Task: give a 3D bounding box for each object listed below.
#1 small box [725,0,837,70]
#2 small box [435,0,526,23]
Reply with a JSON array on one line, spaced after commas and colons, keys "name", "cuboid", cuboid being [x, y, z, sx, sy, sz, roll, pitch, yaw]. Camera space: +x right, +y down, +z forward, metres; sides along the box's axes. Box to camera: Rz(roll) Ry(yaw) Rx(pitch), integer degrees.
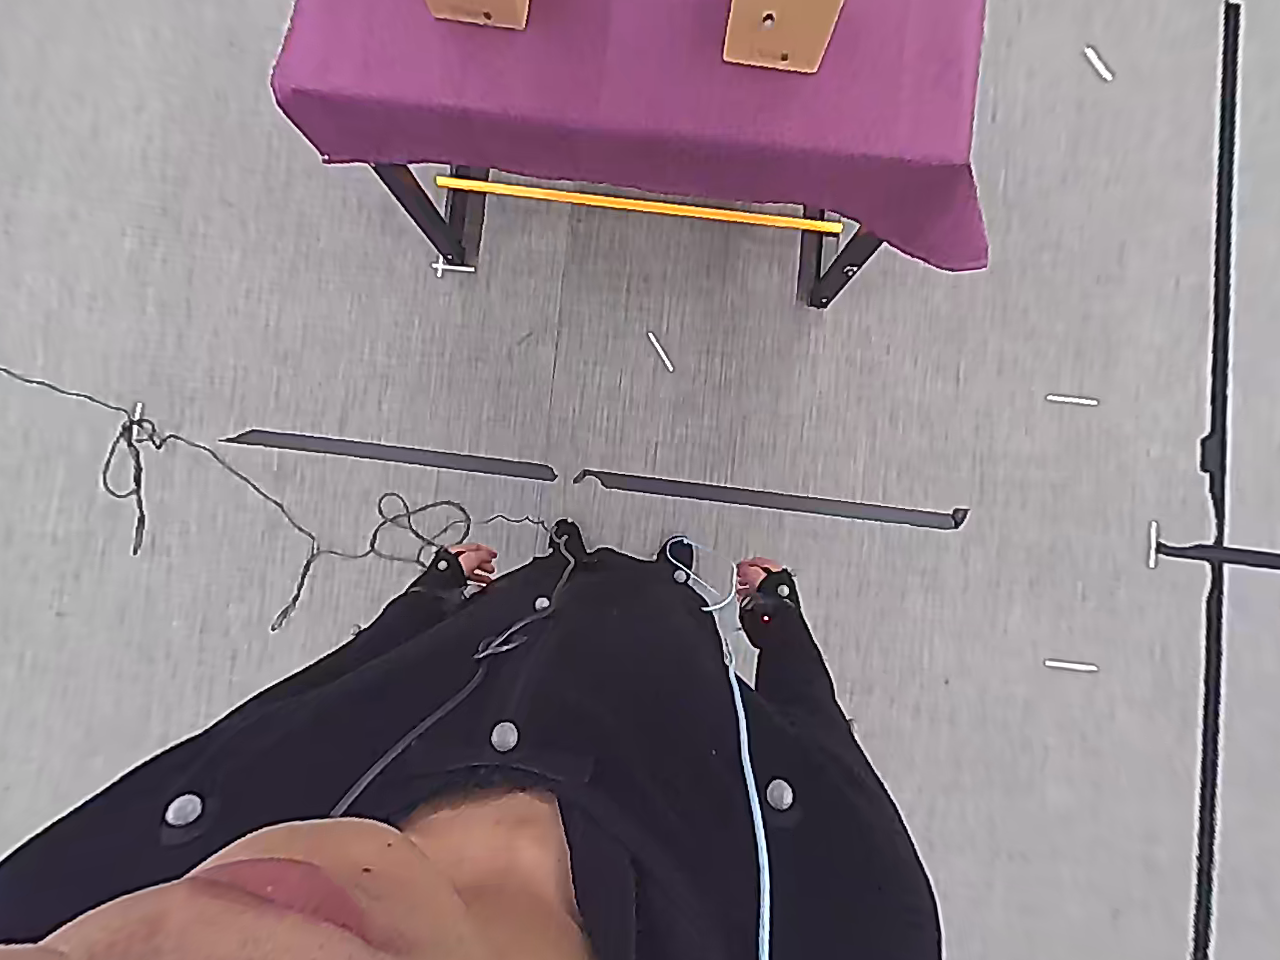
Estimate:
[{"name": "small box", "cuboid": [0.238, -0.821, 0.882, 0.168, 0.176, 0.179, 9, 86, 1]}, {"name": "small box", "cuboid": [-0.275, -0.905, 0.883, 0.168, 0.176, 0.179, 9, 87, 0]}]
